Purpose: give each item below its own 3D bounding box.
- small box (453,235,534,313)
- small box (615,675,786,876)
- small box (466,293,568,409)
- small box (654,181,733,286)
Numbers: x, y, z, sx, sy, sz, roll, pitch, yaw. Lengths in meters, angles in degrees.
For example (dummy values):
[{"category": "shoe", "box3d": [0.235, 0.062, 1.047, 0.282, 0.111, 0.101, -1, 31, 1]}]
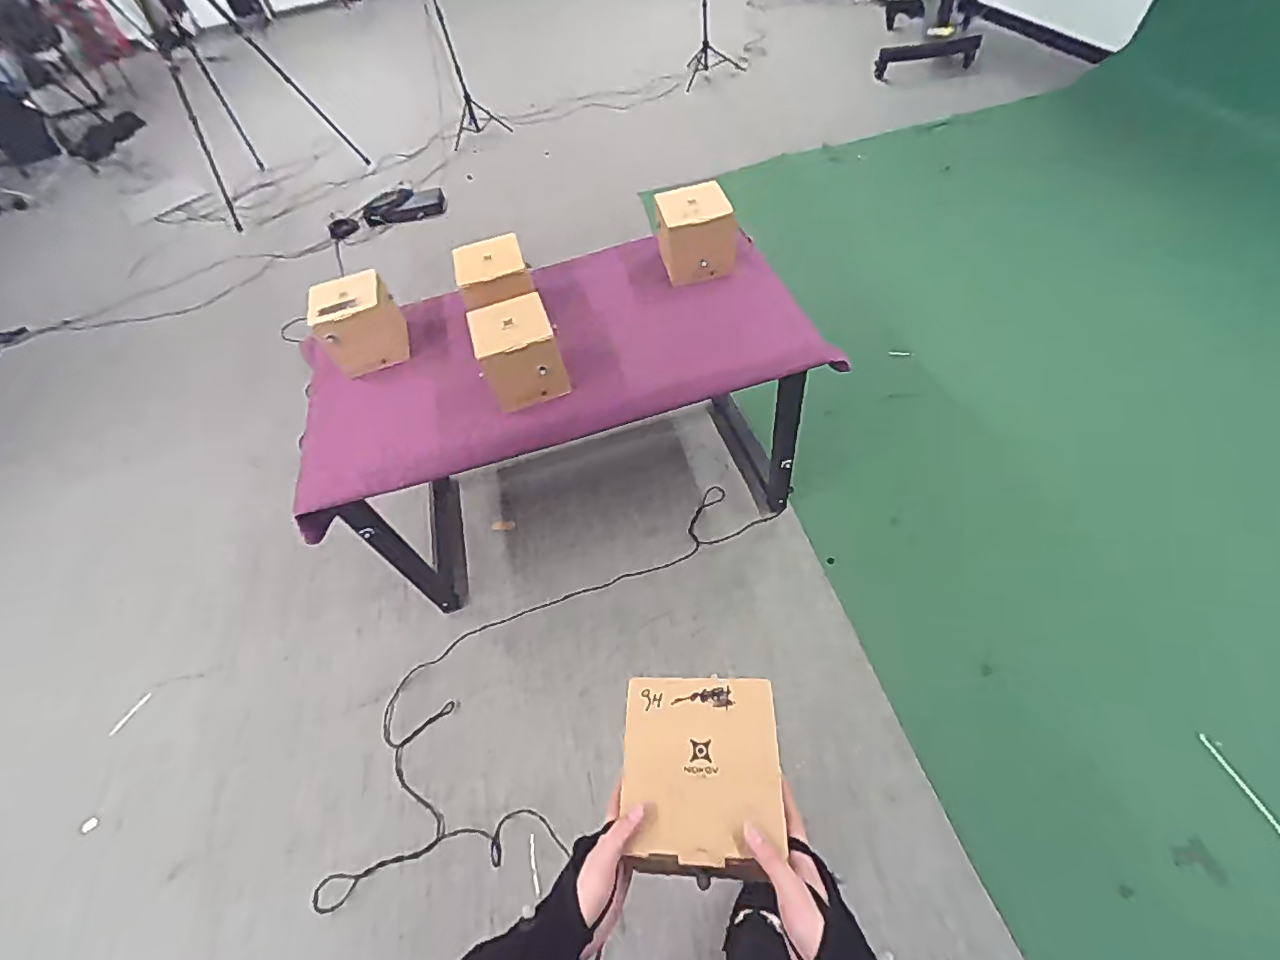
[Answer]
[{"category": "small box", "box3d": [-0.362, -0.486, 1.374, 0.168, 0.176, 0.179, -17, 55, -4]}, {"category": "small box", "box3d": [0.071, 0.342, 0.623, 0.168, 0.176, 0.179, -1, 50, 7]}, {"category": "small box", "box3d": [-0.271, -0.280, 1.209, 0.168, 0.176, 0.179, -19, 52, -5]}, {"category": "small box", "box3d": [0.137, -0.633, 1.394, 0.168, 0.176, 0.179, -13, 54, 1]}]
